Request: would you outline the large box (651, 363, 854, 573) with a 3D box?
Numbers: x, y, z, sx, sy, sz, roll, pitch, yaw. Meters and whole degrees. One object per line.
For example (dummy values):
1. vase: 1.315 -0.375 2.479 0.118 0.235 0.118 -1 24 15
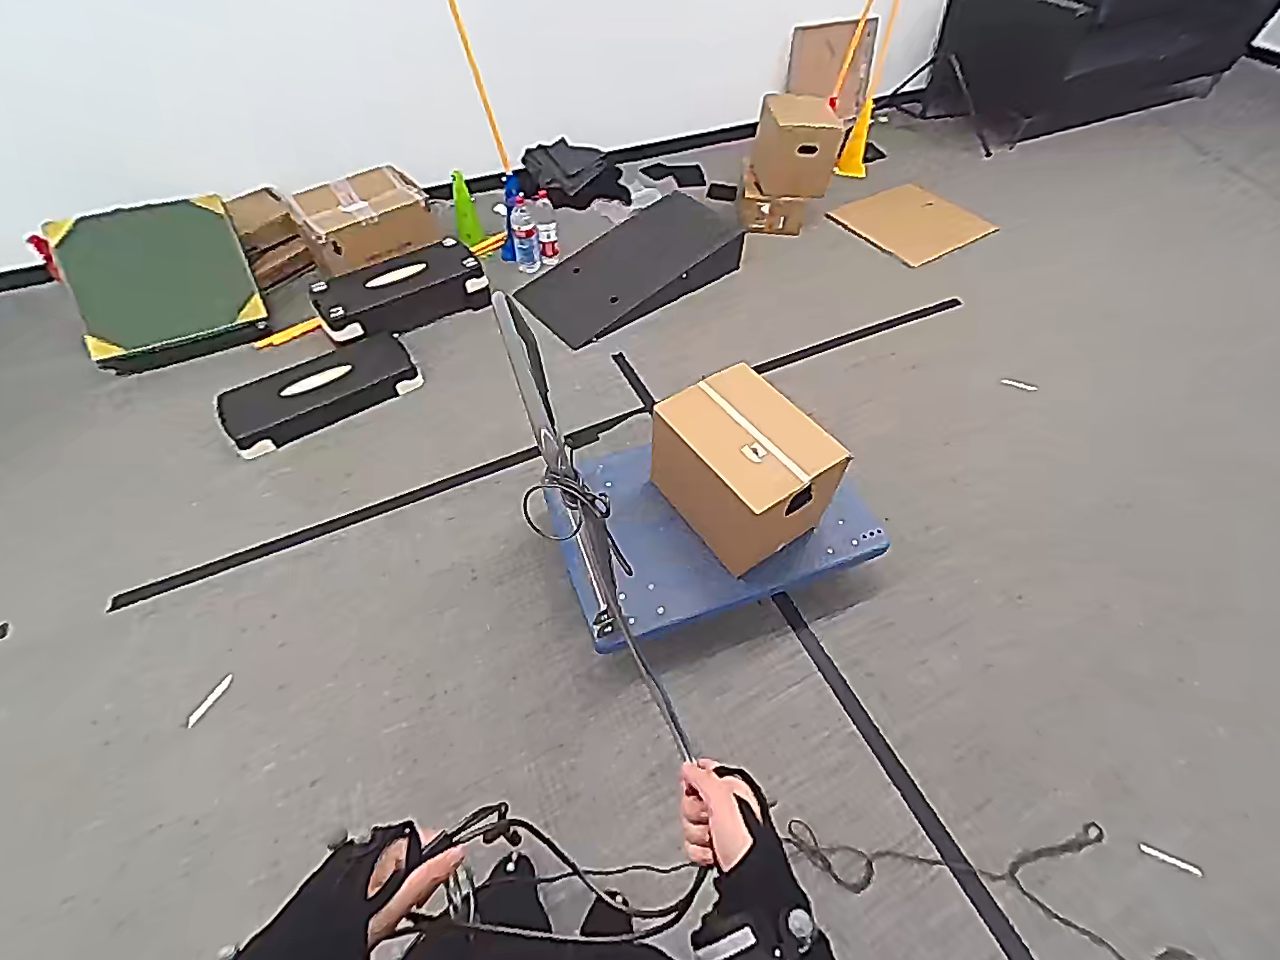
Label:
1. large box: 0.270 -0.036 1.449 0.320 0.320 0.408 -29 60 -20
